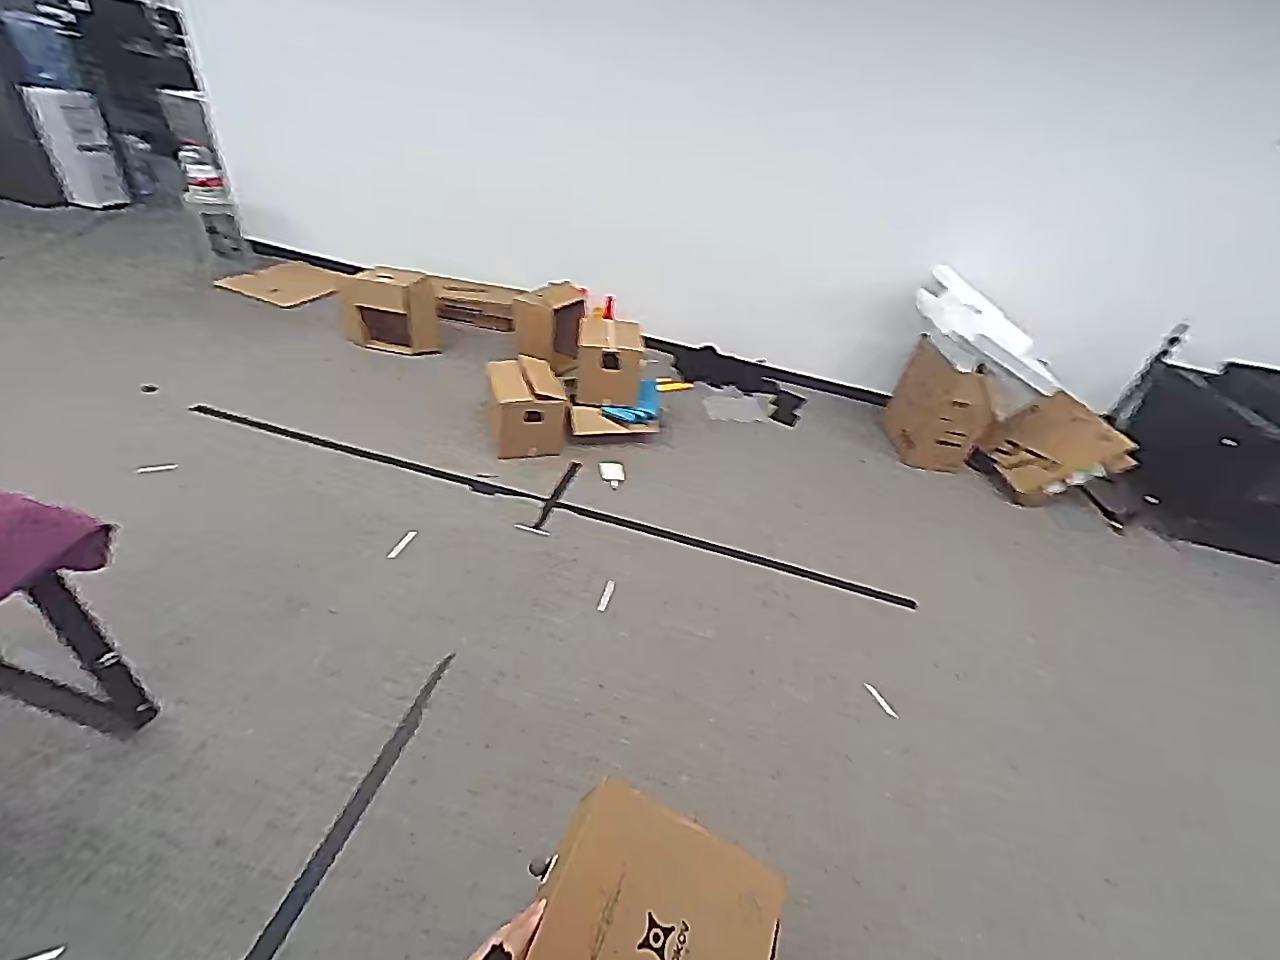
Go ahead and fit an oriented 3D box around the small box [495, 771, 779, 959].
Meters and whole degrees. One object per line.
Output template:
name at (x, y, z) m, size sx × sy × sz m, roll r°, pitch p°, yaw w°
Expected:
small box at (-0.011, 0.386, 0.460) m, size 0.179 × 0.176 × 0.168 m, roll 26°, pitch 47°, yaw 4°
